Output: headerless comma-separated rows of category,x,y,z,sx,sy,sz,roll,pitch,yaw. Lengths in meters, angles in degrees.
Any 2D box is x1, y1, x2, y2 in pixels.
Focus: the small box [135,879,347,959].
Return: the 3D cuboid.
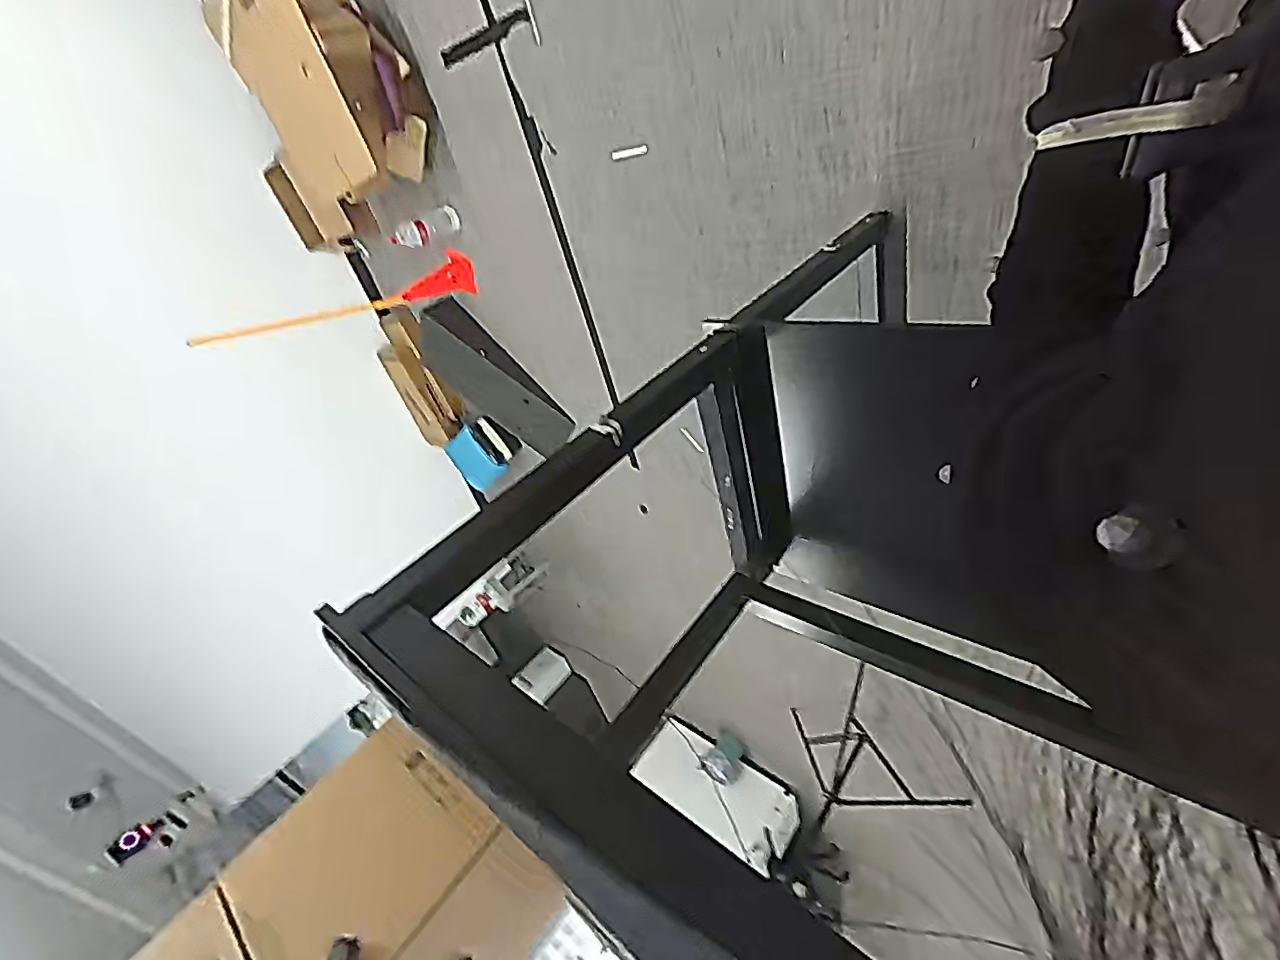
small box,-0.291,0.436,0.379,0.168,0.176,0.179,18,138,37
